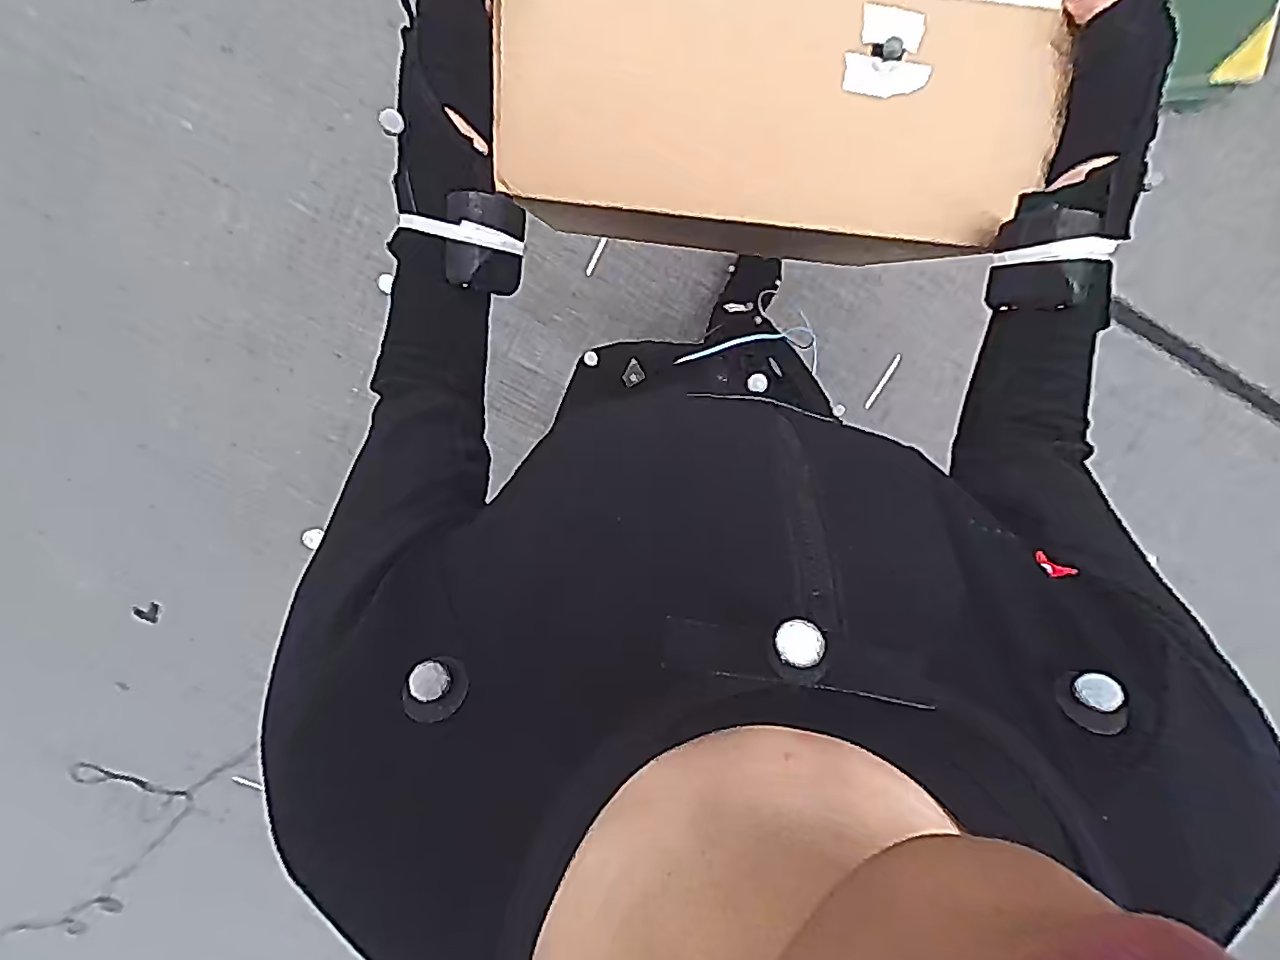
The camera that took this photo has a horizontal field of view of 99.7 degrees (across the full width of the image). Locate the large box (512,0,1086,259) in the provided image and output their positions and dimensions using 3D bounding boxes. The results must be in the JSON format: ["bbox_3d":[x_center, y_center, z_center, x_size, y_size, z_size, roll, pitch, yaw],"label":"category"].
[{"bbox_3d":[0.108,-0.398,0.507,0.408,0.320,0.320,5,111,-4],"label":"large box"}]
